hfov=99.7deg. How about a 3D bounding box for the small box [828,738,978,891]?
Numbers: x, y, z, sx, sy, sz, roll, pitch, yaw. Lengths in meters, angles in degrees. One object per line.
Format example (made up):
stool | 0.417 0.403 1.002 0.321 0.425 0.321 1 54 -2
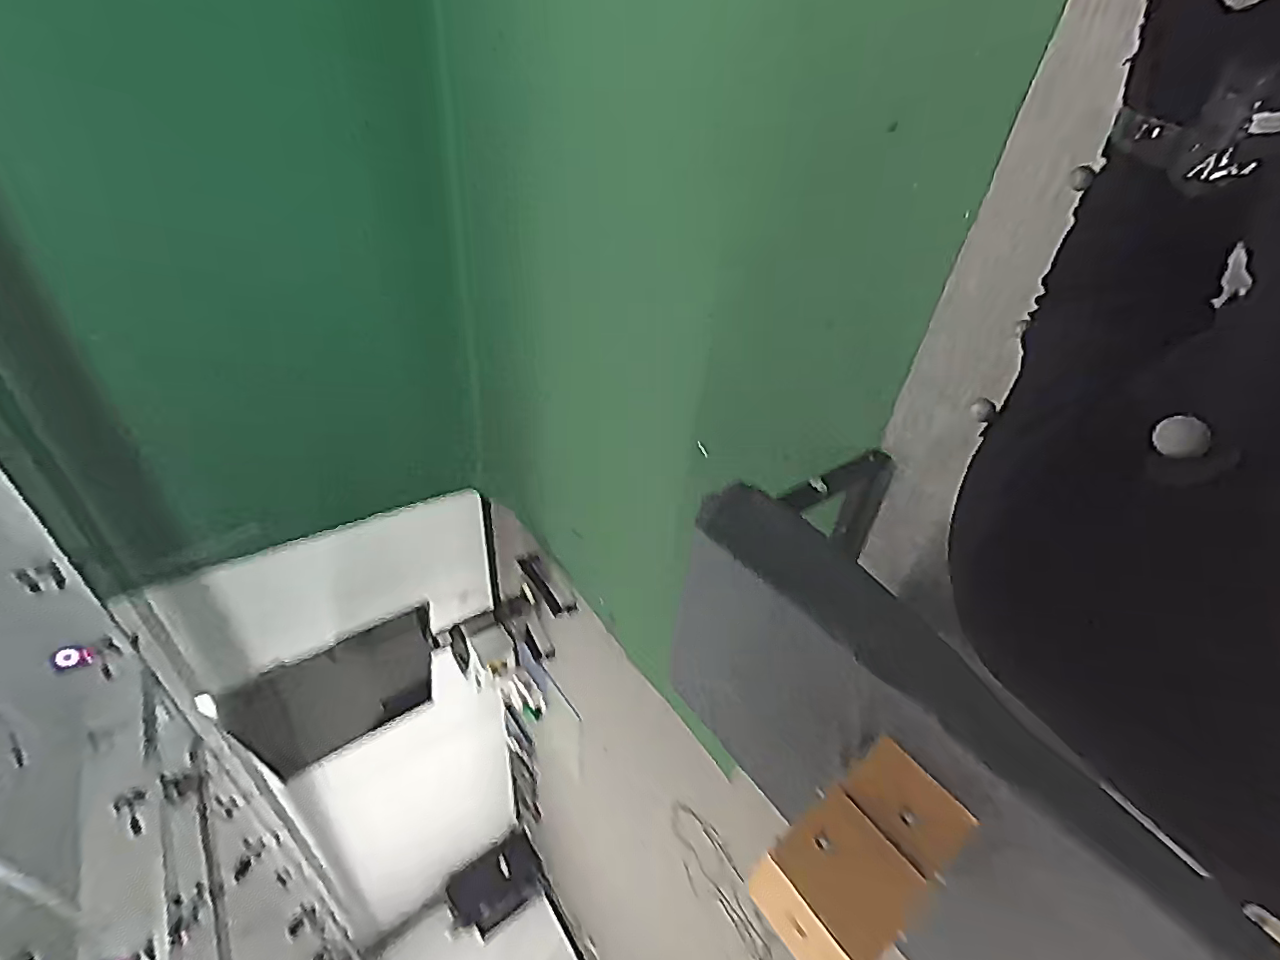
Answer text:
small box | 0.435 0.591 0.928 0.179 0.176 0.168 39 139 40

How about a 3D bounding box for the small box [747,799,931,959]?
small box | 0.294 0.623 0.816 0.179 0.176 0.168 38 137 41
